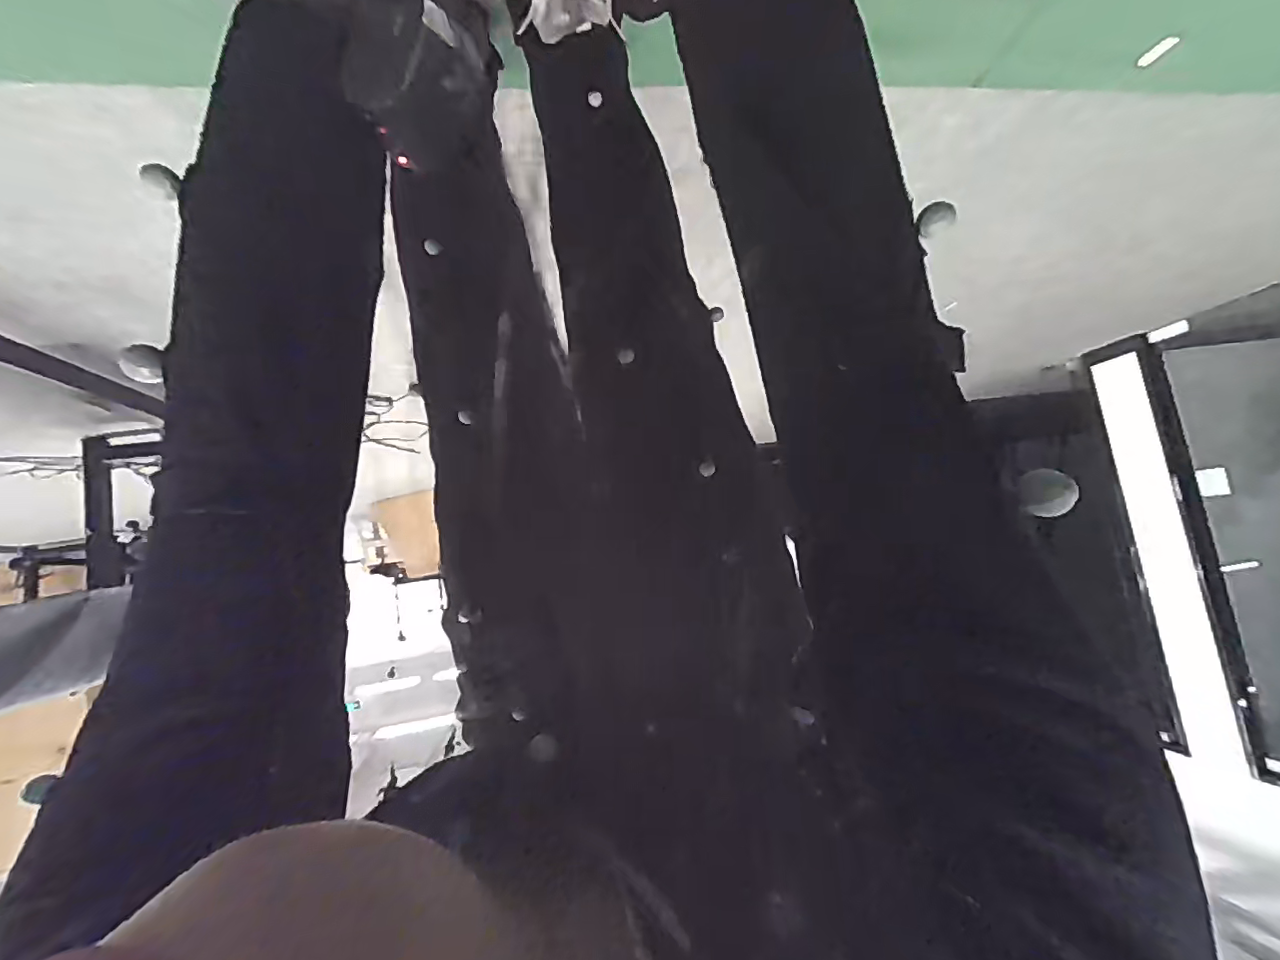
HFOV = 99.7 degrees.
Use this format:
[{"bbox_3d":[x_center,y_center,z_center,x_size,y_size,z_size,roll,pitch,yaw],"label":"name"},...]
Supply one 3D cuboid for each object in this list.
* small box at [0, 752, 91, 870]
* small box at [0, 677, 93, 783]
[{"bbox_3d":[-1.305,0.688,1.123,0.179,0.176,0.168,-8,174,-8],"label":"small box"},{"bbox_3d":[-1.314,0.523,1.131,0.179,0.176,0.168,-7,173,-9],"label":"small box"}]
